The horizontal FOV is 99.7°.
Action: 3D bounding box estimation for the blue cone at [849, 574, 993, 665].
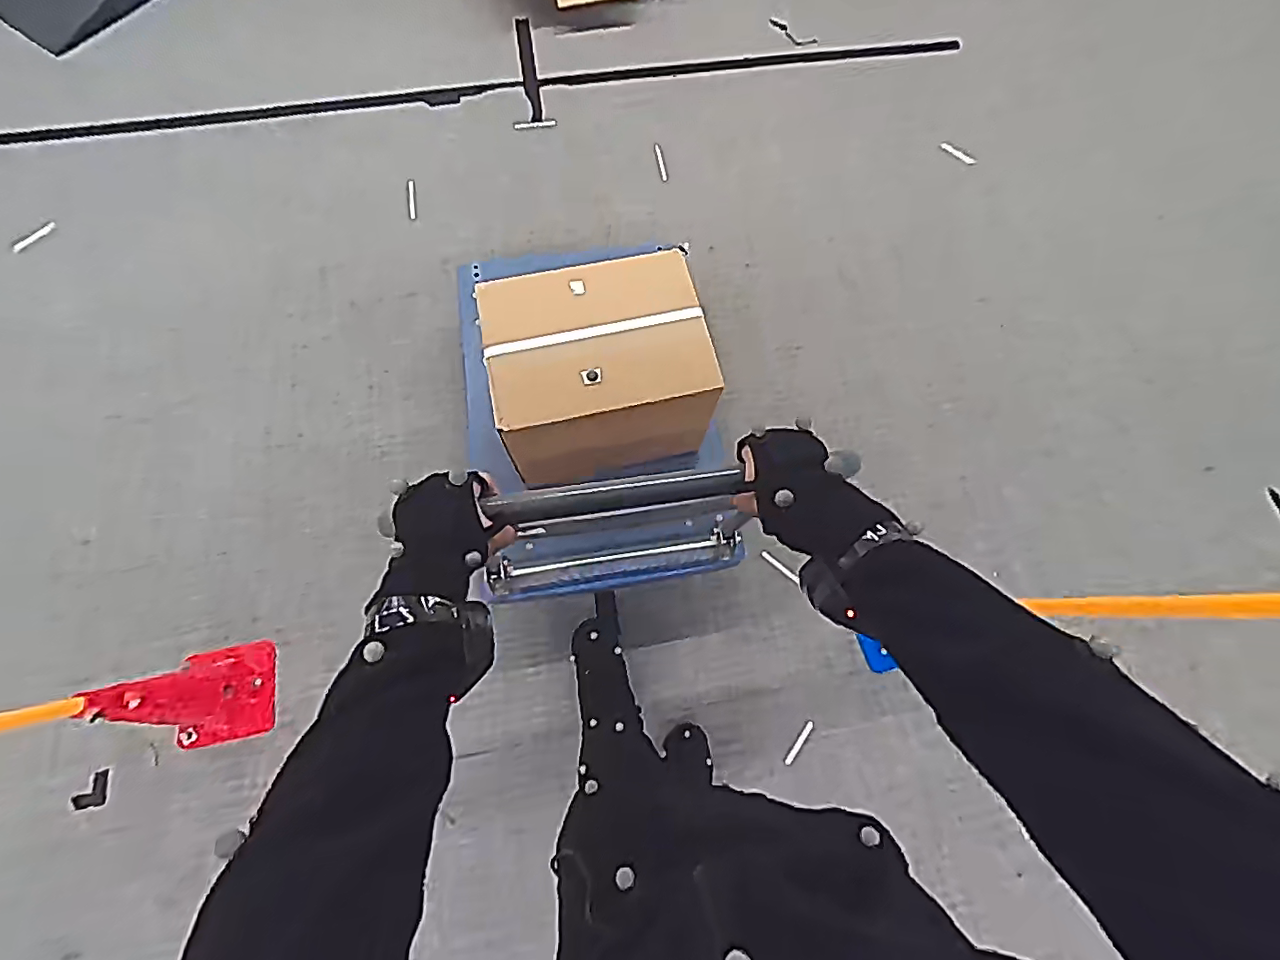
[{"bbox_3d":[0.625,0.282,1.155,0.193,0.380,0.192,-13,71,-7],"label":"blue cone"}]
